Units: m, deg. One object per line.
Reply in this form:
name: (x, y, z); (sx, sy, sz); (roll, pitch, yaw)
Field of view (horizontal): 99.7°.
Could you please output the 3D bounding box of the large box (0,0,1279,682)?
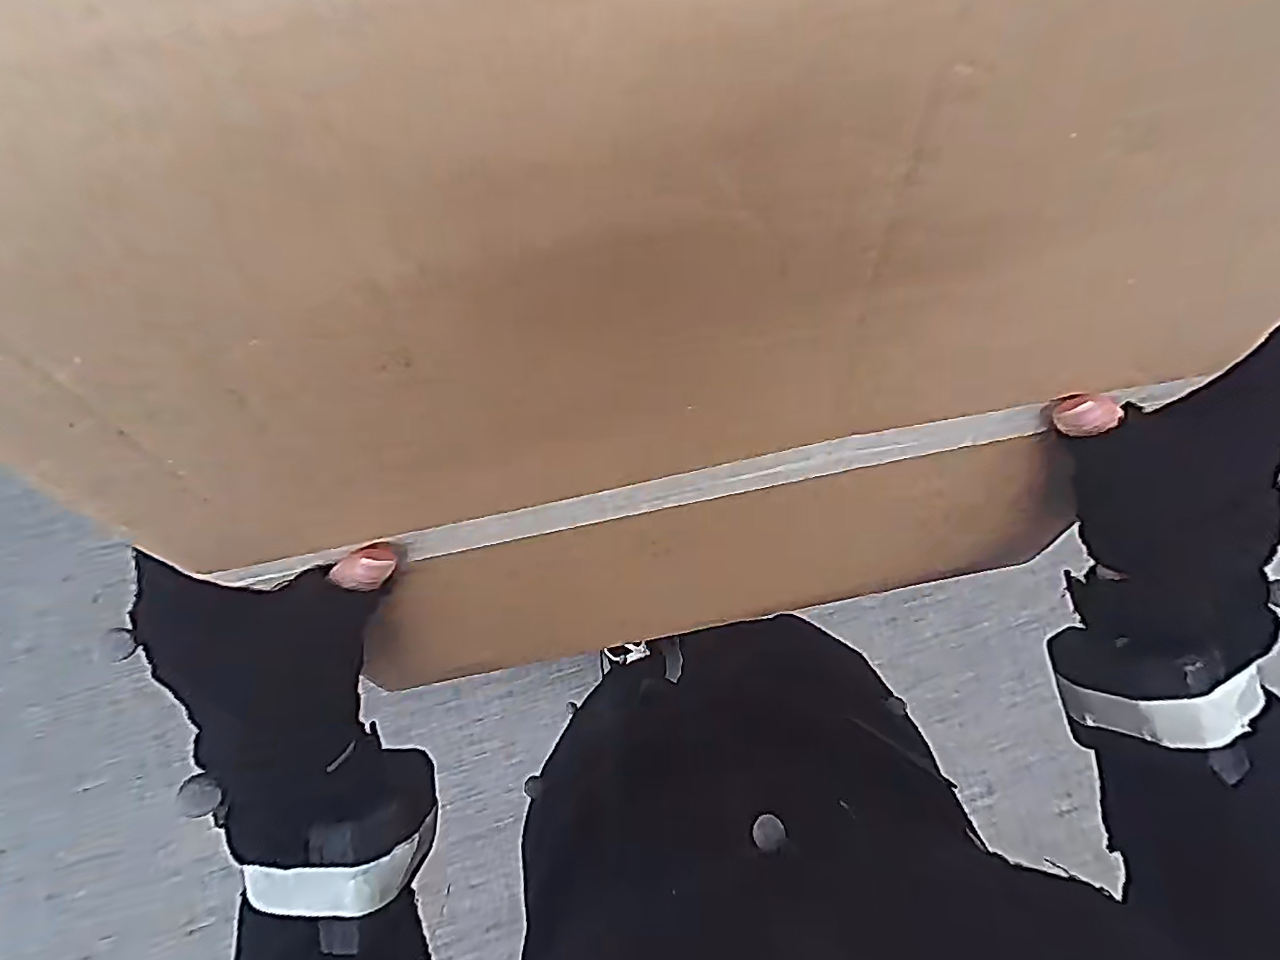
large box: (0.010, -0.120, 0.311); (0.408, 0.320, 0.320); (-11, 54, -2)
